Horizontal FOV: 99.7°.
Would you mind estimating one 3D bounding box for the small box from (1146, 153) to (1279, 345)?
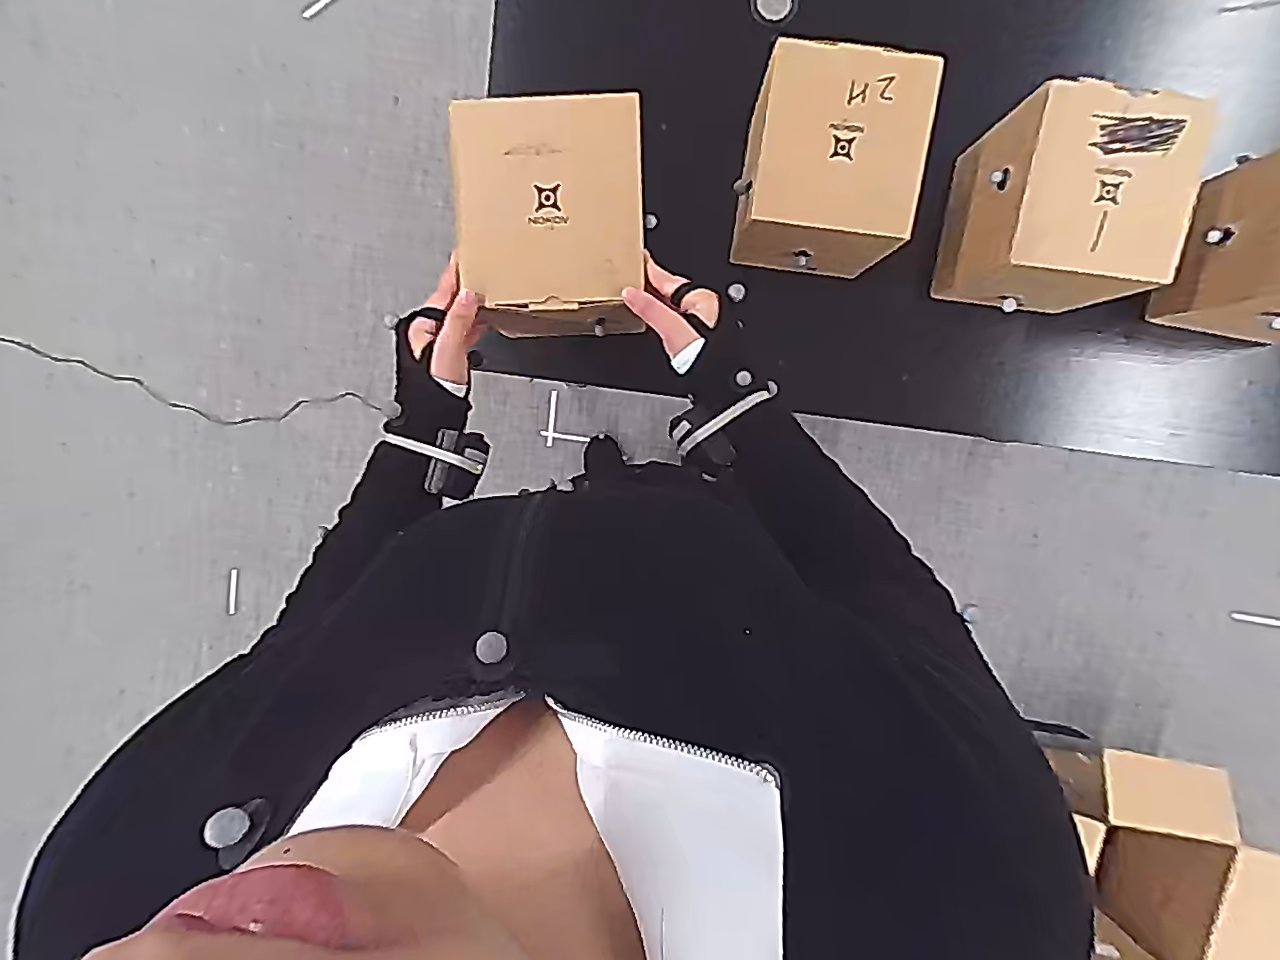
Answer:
[{"bbox_3d":[0.746,-0.257,0.613,0.179,0.176,0.168,11,97,2],"label":"small box"}]

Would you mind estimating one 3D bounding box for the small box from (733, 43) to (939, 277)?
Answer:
[{"bbox_3d":[0.207,-0.348,0.624,0.168,0.176,0.179,8,97,1],"label":"small box"}]

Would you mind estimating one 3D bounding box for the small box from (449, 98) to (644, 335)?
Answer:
[{"bbox_3d":[-0.080,-0.247,0.552,0.168,0.176,0.179,-2,95,0],"label":"small box"}]

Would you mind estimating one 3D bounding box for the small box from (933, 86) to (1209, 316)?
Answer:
[{"bbox_3d":[0.468,-0.301,0.620,0.168,0.176,0.179,8,98,2],"label":"small box"}]
